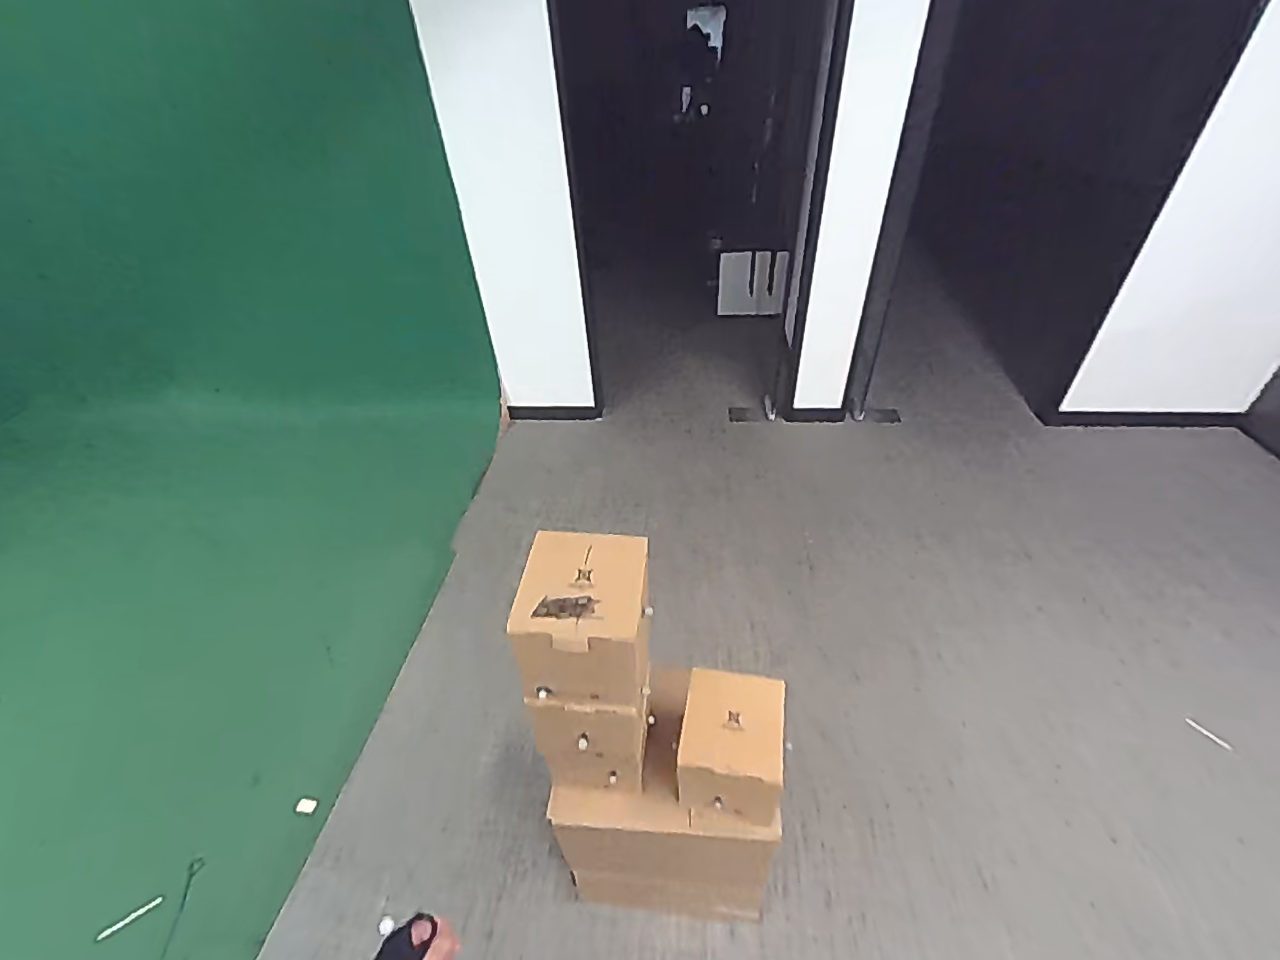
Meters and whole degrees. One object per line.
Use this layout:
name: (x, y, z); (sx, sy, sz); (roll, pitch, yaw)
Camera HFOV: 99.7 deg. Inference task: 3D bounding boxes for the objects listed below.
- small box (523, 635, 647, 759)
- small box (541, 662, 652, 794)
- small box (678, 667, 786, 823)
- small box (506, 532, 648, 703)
small box: (-0.077, 0.328, 0.875); (0.168, 0.176, 0.179); (3, 41, 4)
small box: (-0.069, 0.446, 0.989); (0.168, 0.176, 0.179); (4, 40, 6)
small box: (0.162, 0.462, 0.949); (0.168, 0.176, 0.179); (5, 40, 12)
small box: (-0.076, 0.197, 0.775); (0.168, 0.176, 0.179); (3, 39, 4)
